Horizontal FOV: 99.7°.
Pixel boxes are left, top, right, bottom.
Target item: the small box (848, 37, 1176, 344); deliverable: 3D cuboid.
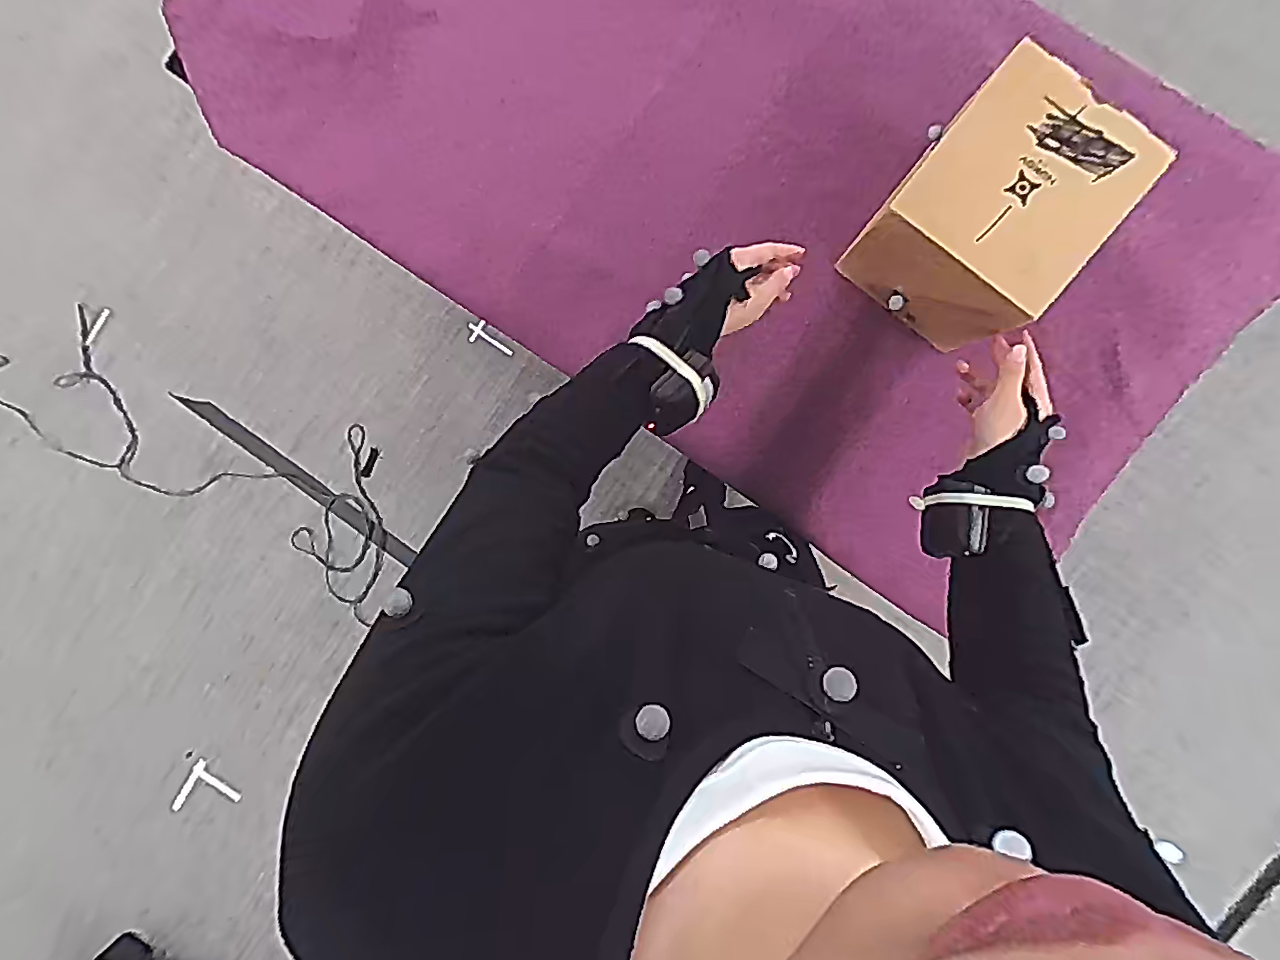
[{"bbox_3d":[0.342,-0.264,0.542,0.168,0.176,0.179,39,95,1],"label":"small box"}]
